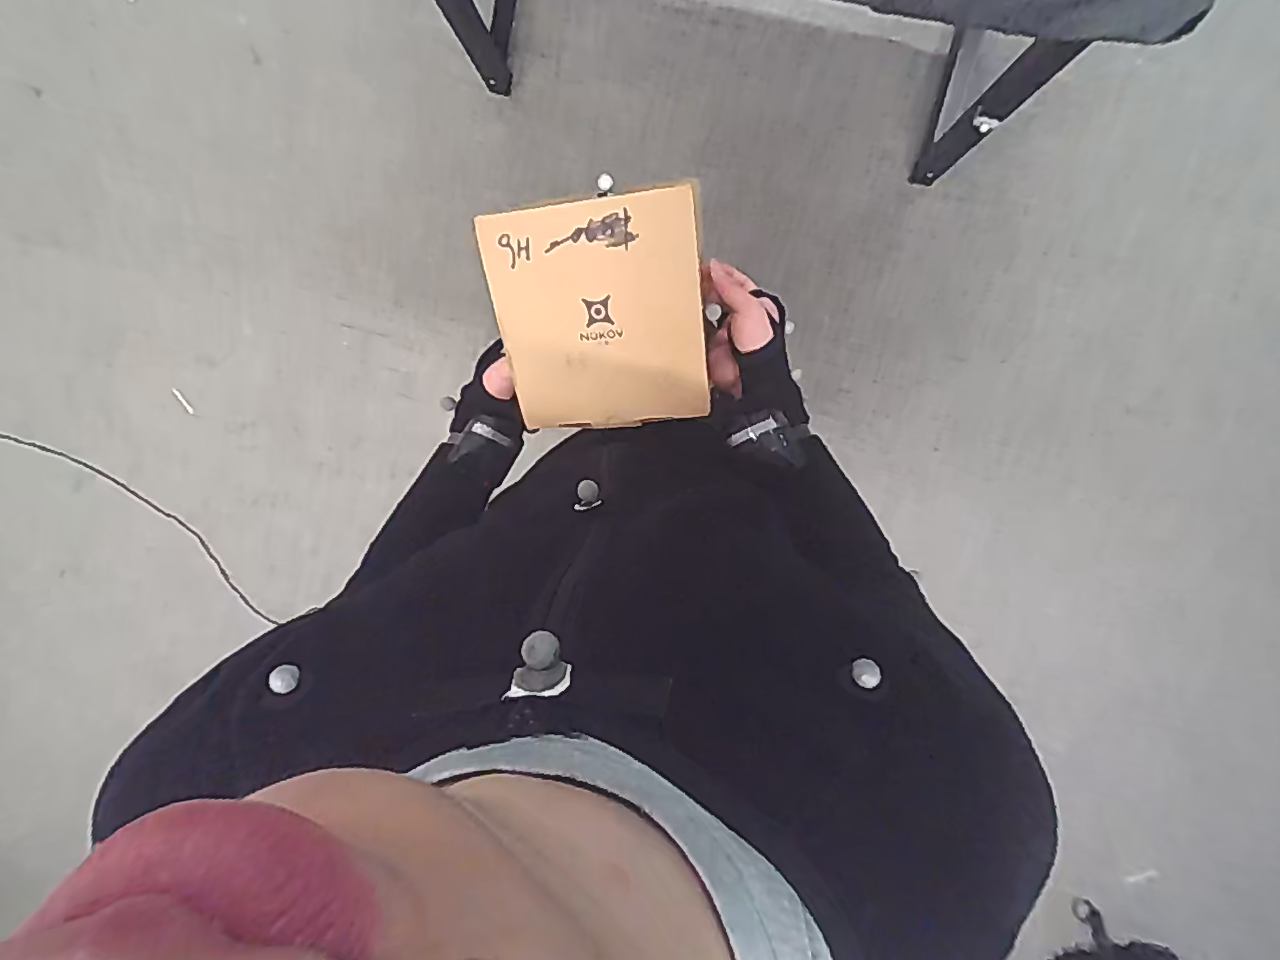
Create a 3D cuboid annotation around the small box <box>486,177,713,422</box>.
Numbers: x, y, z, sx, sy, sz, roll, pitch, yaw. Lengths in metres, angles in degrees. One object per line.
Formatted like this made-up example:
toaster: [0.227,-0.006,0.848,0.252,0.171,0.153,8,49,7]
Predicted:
small box: [-0.018,-0.172,0.507,0.168,0.176,0.179,-4,121,9]
